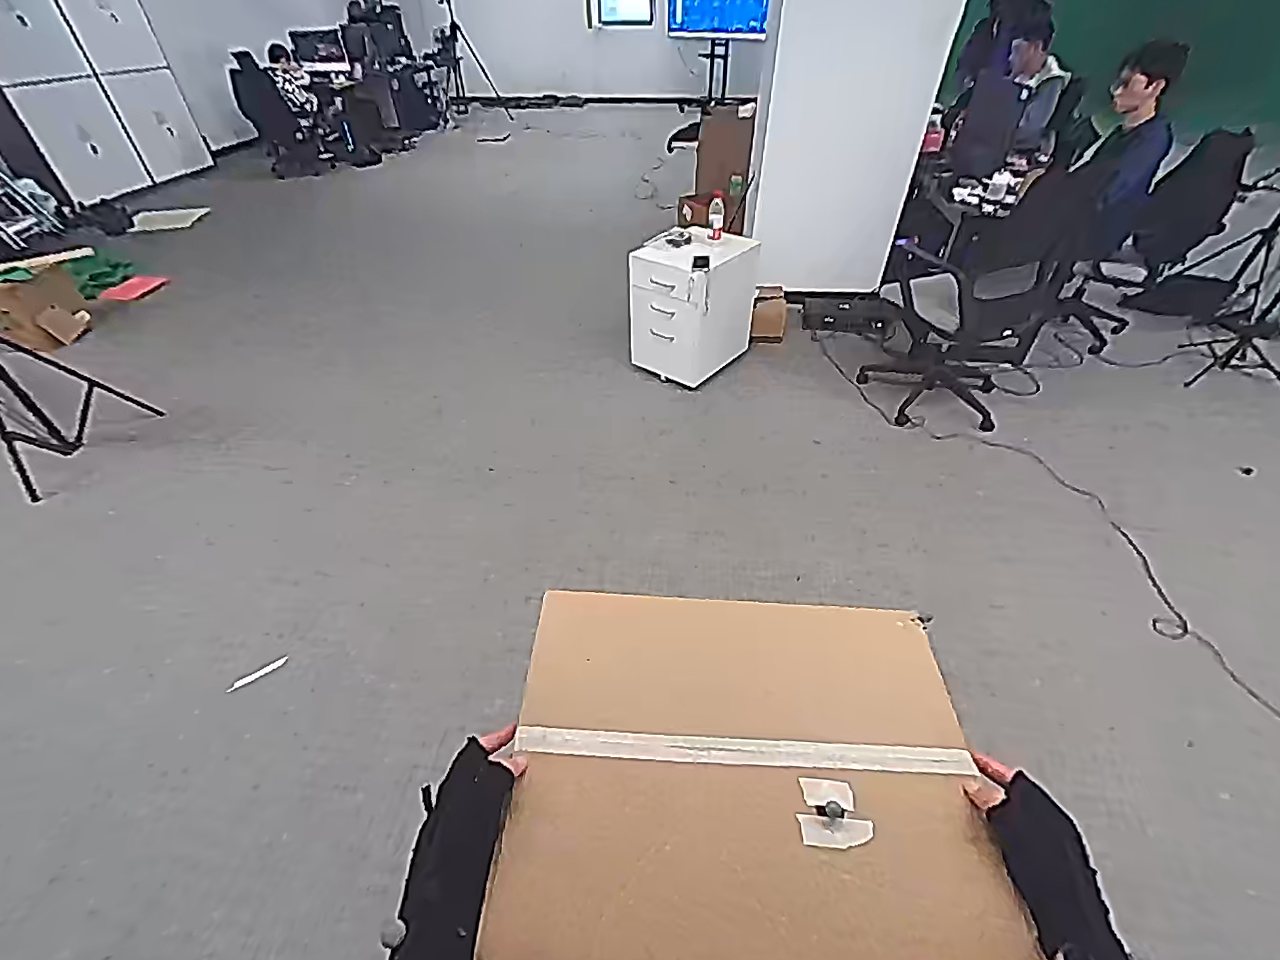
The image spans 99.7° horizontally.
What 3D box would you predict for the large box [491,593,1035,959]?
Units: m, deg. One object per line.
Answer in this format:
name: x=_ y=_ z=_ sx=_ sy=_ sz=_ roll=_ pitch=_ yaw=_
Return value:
large box: x=0.087 y=0.348 z=0.593 sx=0.408 sy=0.320 sz=0.320 roll=4 pitch=45 yaw=0
